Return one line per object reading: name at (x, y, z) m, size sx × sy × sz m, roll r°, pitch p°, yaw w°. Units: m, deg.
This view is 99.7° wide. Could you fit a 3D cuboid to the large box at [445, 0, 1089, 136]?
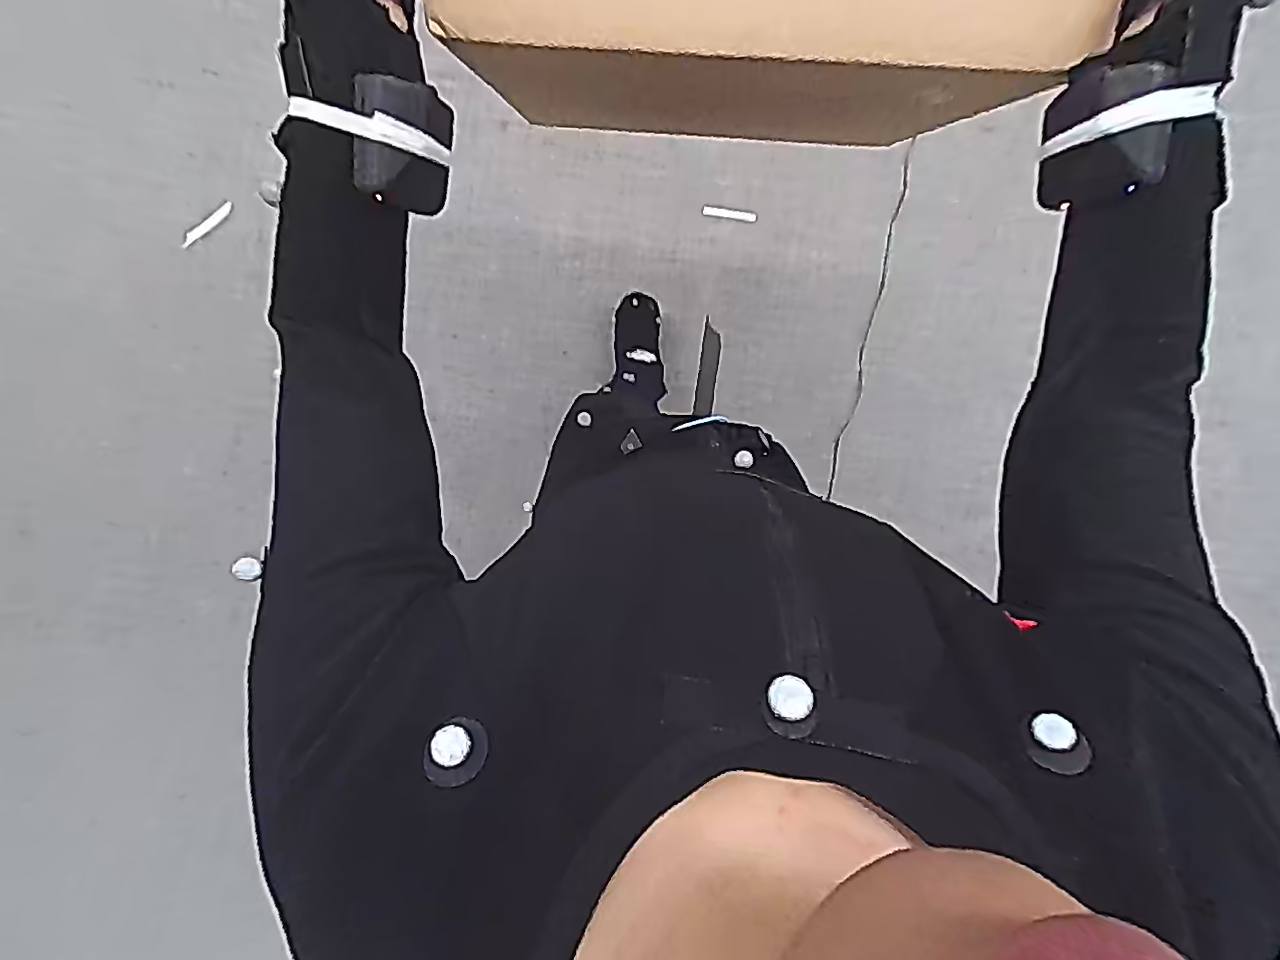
large box at (0.080, -0.470, 0.412) m, size 0.408 × 0.320 × 0.320 m, roll 3°, pitch 116°, yaw -1°
